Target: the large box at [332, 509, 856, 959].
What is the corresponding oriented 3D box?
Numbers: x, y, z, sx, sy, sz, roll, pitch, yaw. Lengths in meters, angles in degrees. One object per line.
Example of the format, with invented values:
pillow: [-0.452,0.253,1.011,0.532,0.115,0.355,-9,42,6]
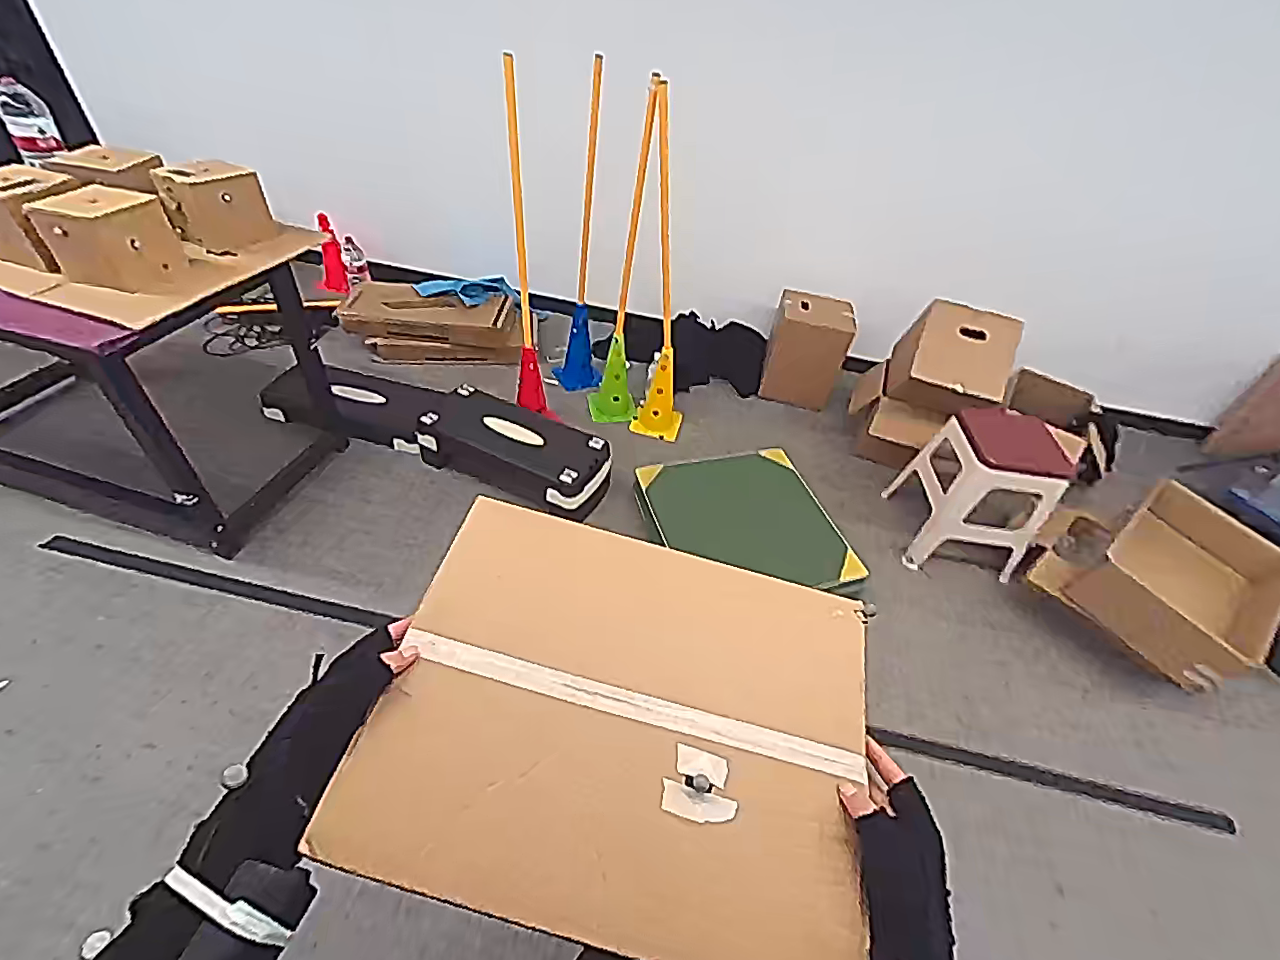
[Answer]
large box: [-0.027,0.280,0.598,0.408,0.320,0.320,15,55,1]
